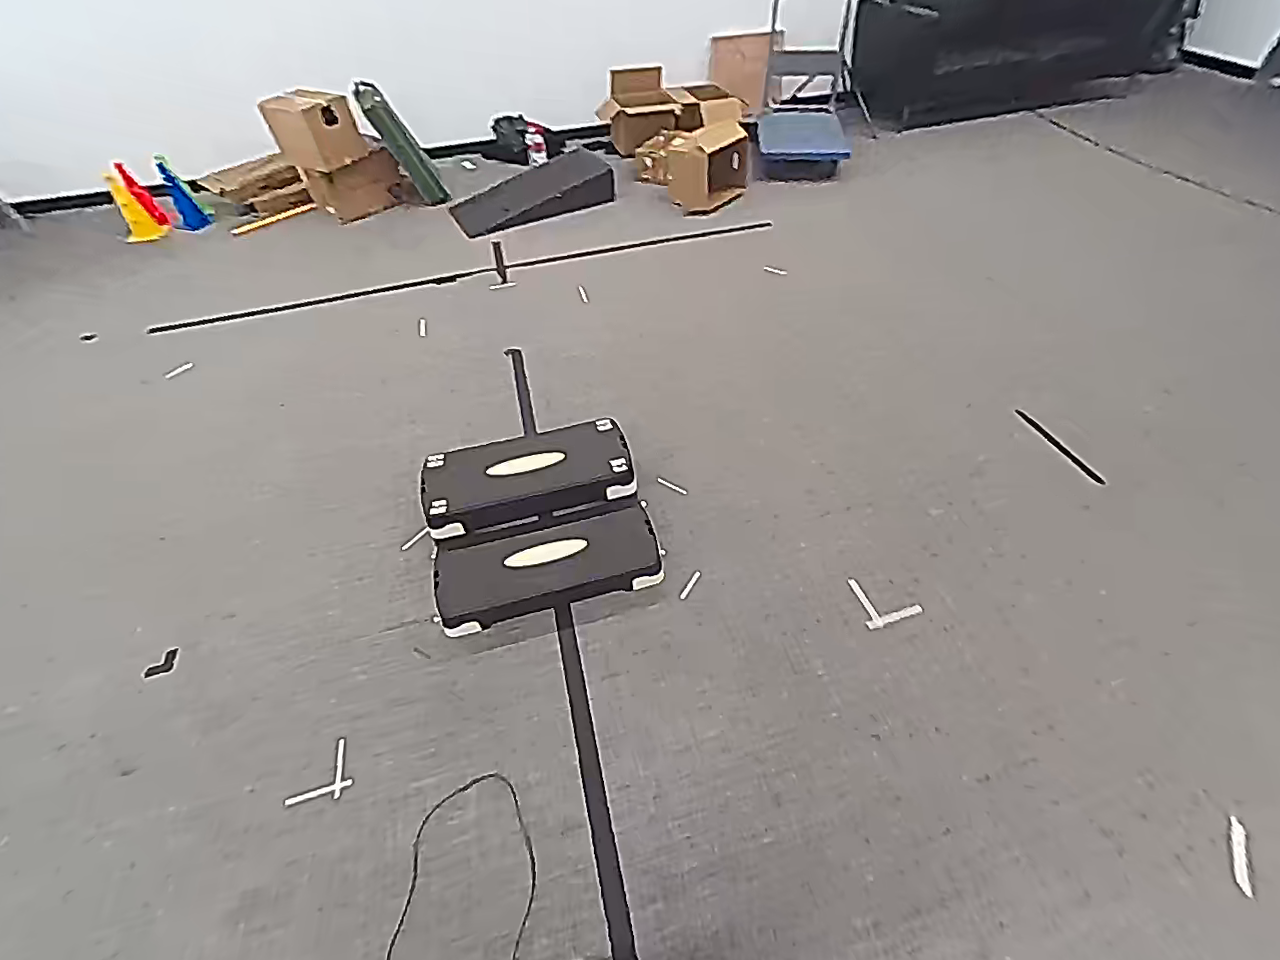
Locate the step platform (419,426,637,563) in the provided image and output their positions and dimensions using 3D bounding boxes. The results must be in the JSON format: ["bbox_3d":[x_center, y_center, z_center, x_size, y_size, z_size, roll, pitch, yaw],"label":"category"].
[{"bbox_3d":[-0.360,0.036,1.780,0.684,0.204,0.286,-13,50,-10],"label":"step platform"}]
